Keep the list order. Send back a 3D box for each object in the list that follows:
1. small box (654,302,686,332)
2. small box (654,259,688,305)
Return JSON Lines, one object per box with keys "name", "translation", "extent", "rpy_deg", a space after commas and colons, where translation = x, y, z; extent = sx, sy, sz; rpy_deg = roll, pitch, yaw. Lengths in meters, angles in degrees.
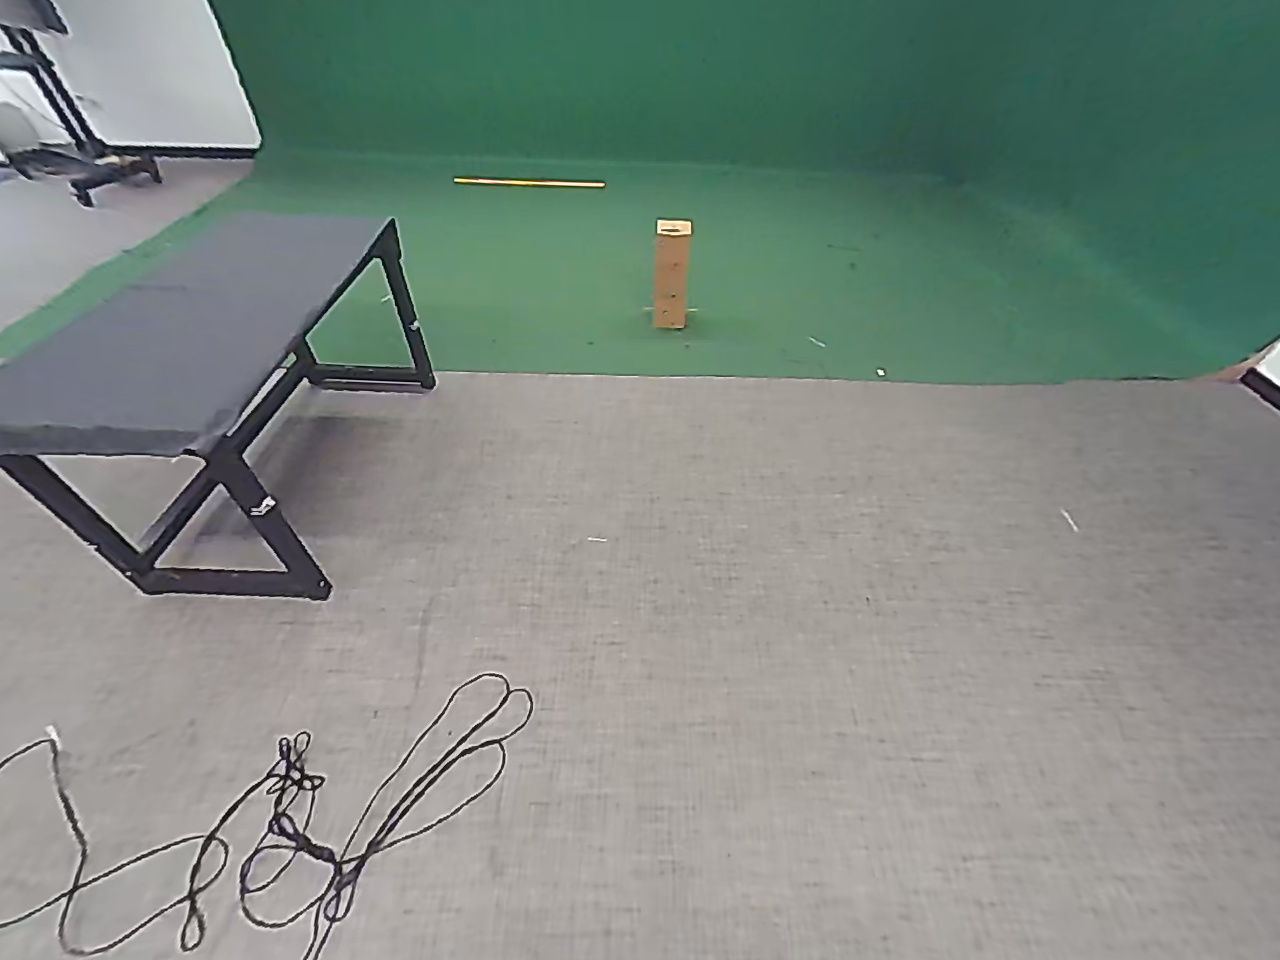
{"name": "small box", "translation": [0.163, -0.914, 2.929], "extent": [0.168, 0.176, 0.179], "rpy_deg": [0, 44, 0]}
{"name": "small box", "translation": [0.160, -1.031, 2.813], "extent": [0.168, 0.176, 0.179], "rpy_deg": [2, 45, 2]}
